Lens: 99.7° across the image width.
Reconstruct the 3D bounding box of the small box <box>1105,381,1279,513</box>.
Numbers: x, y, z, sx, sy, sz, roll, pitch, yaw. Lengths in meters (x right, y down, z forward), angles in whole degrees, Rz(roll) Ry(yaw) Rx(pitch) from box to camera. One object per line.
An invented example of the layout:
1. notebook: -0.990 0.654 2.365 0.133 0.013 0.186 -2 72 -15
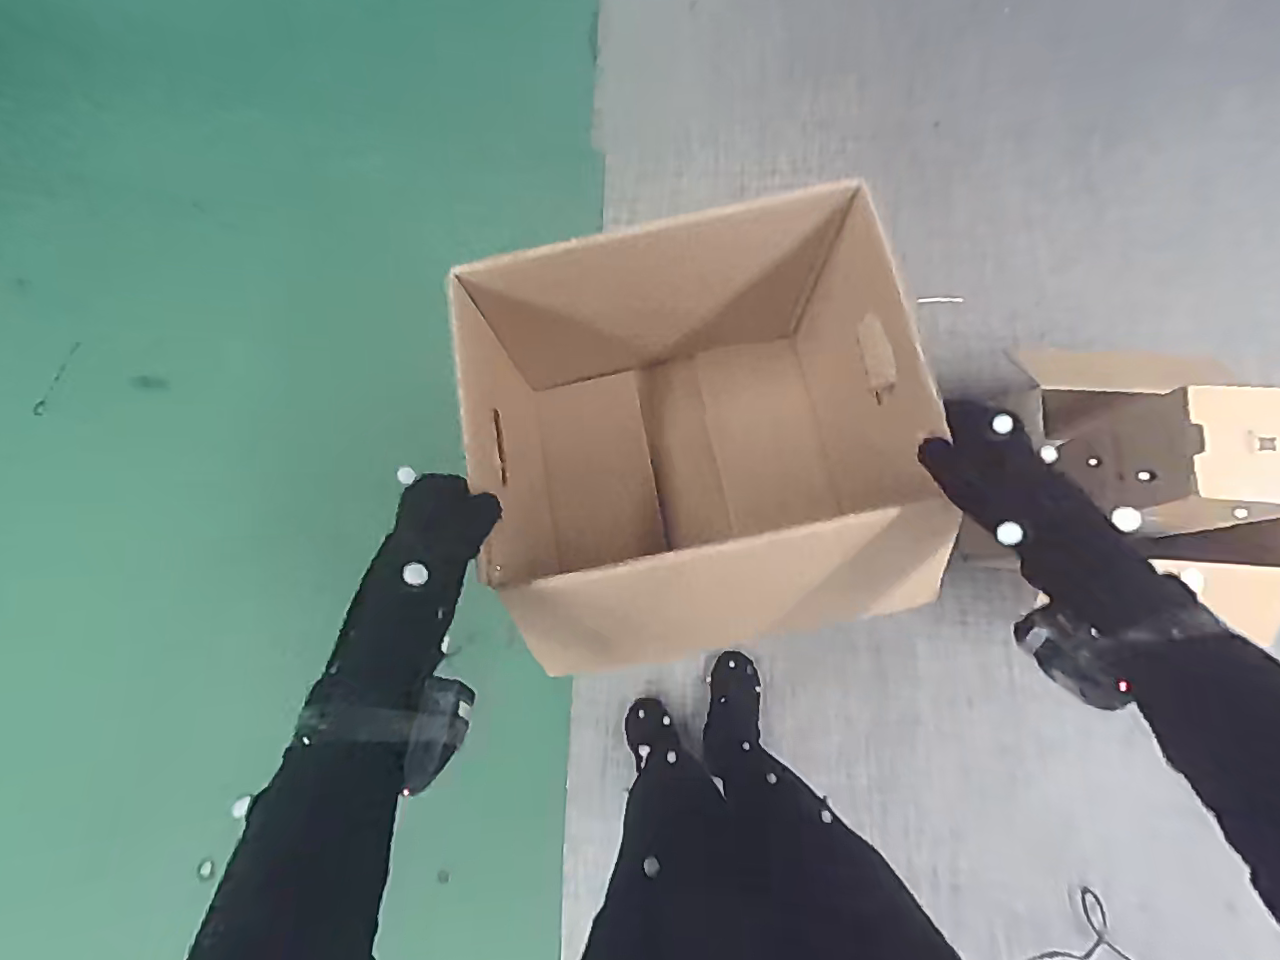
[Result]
1. small box: 0.859 -0.043 0.830 0.179 0.176 0.168 3 80 8
